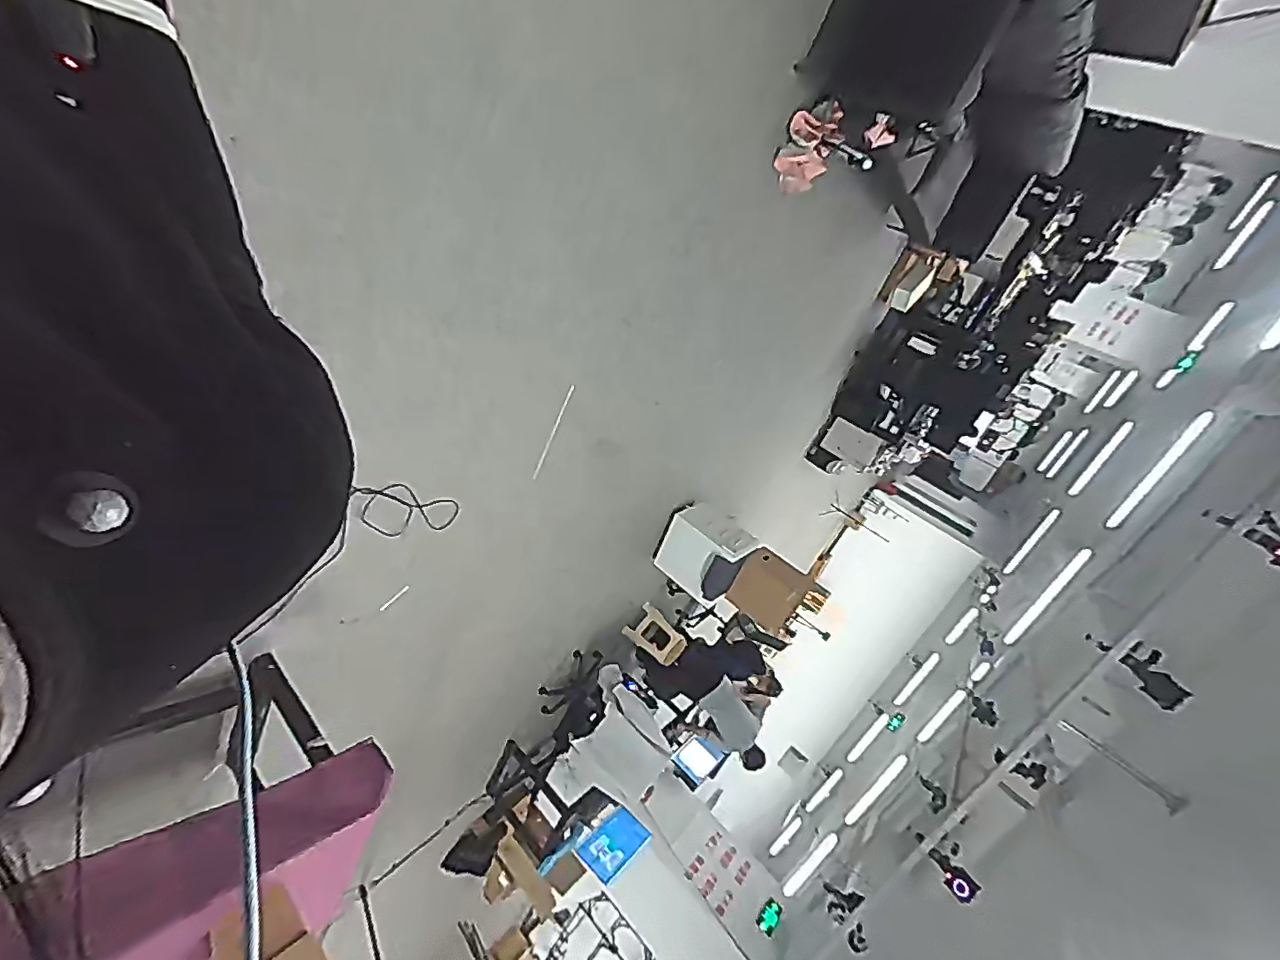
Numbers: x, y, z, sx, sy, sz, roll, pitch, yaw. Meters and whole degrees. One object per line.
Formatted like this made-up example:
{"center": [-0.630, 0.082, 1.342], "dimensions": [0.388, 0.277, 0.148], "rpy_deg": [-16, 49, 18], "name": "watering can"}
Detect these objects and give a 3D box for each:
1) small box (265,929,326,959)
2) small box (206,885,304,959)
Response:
{"center": [-0.884, 1.286, 1.339], "dimensions": [0.179, 0.176, 0.168], "rpy_deg": [-14, 134, -52], "name": "small box"}
{"center": [-1.012, 1.218, 1.419], "dimensions": [0.168, 0.176, 0.179], "rpy_deg": [-13, 134, -51], "name": "small box"}
